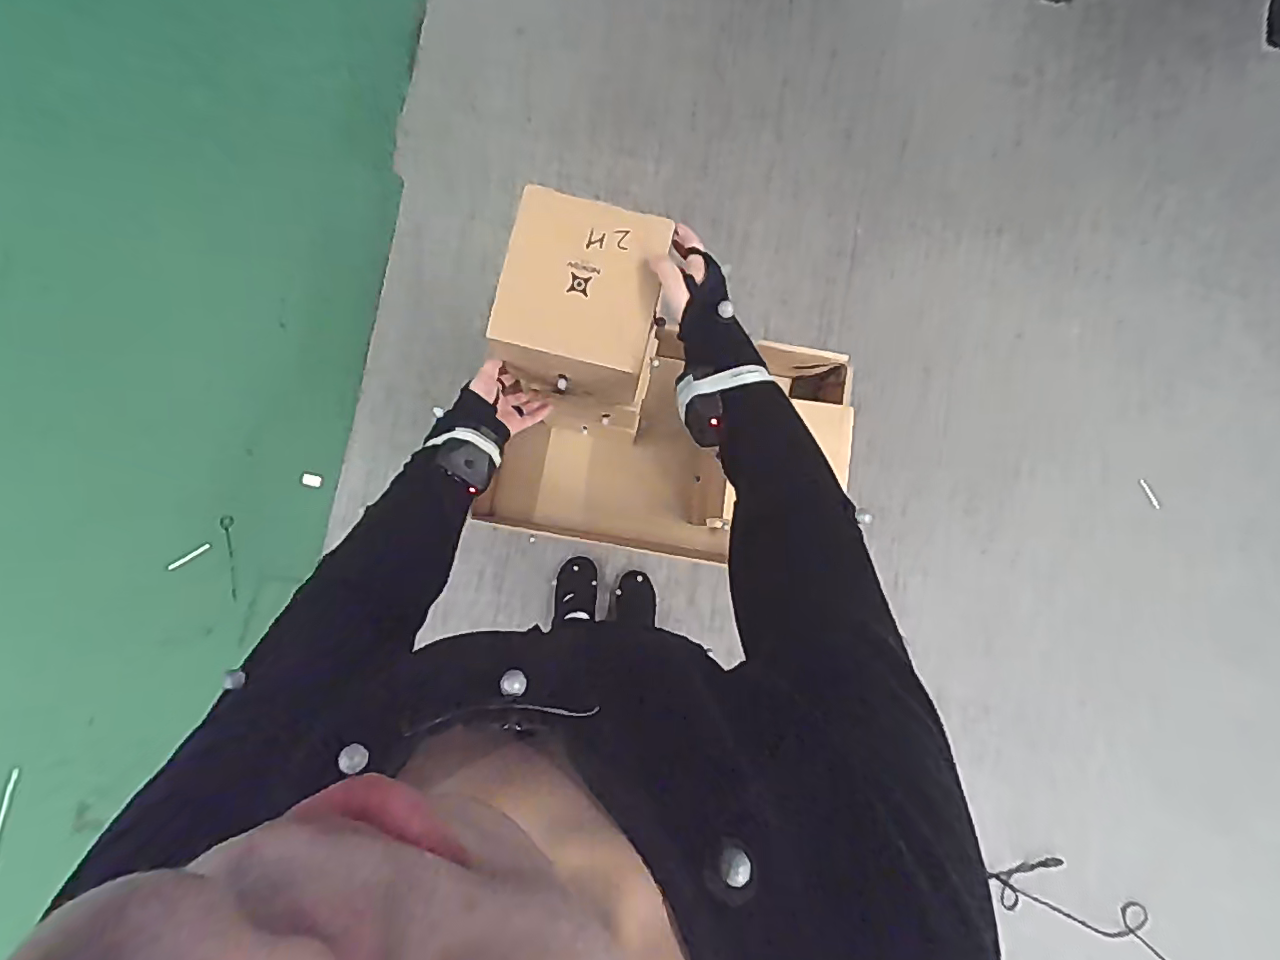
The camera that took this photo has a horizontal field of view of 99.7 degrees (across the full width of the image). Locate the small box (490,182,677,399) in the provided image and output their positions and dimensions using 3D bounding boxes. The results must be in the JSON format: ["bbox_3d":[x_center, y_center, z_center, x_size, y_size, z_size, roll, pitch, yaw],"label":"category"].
[{"bbox_3d":[-0.063,-0.209,0.649,0.168,0.176,0.179,14,86,-3],"label":"small box"}]

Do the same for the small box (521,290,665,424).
[{"bbox_3d":[-0.067,-0.192,0.812,0.168,0.176,0.179,13,85,-3],"label":"small box"}]

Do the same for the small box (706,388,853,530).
[{"bbox_3d":[0.197,-0.025,0.810,0.168,0.176,0.179,7,86,-1],"label":"small box"}]
